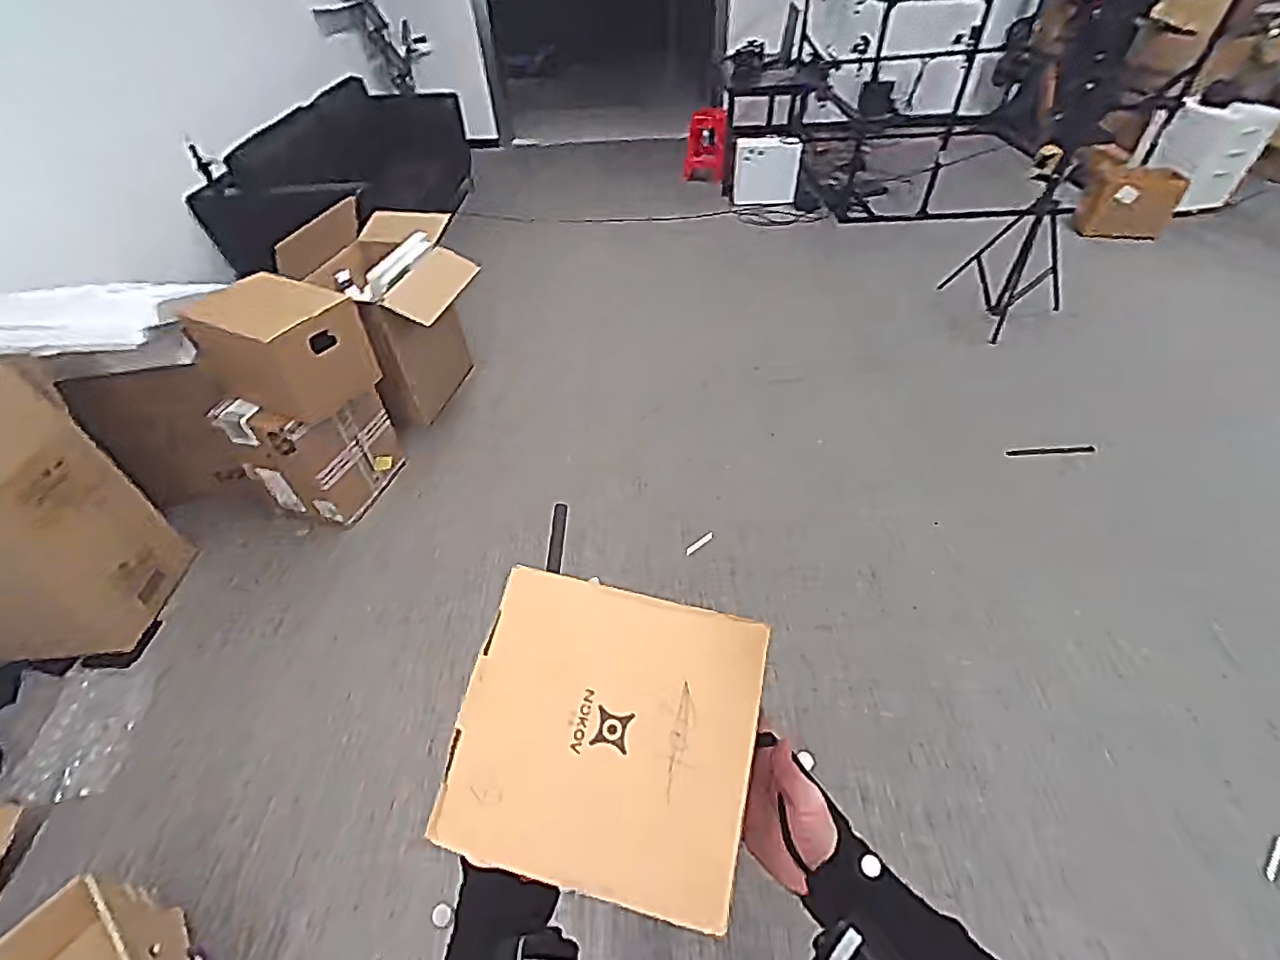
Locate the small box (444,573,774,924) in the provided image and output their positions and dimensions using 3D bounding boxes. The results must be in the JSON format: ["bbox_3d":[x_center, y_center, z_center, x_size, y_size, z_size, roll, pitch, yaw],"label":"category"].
[{"bbox_3d":[-0.010,0.182,0.409,0.179,0.176,0.168,11,71,8],"label":"small box"}]
